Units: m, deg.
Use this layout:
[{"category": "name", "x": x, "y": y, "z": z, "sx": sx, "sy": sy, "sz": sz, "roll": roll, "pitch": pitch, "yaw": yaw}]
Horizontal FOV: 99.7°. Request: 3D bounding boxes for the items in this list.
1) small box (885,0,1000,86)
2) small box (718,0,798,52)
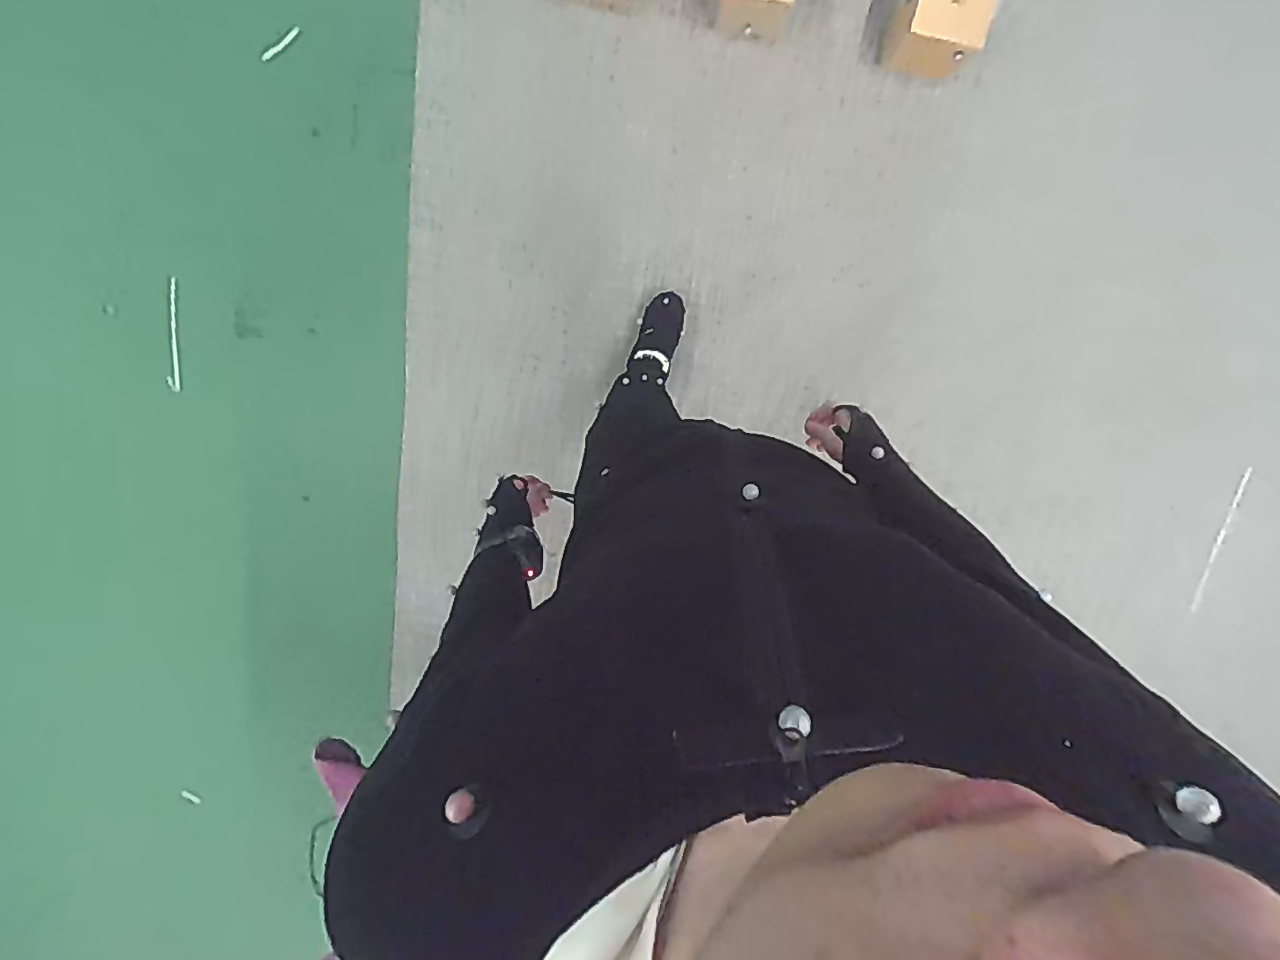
[{"category": "small box", "x": 0.710, "y": -1.072, "z": 1.276, "sx": 0.179, "sy": 0.176, "sz": 0.168, "roll": 10, "pitch": 103, "yaw": -2}, {"category": "small box", "x": 0.284, "y": -1.156, "z": 1.263, "sx": 0.168, "sy": 0.176, "sz": 0.179, "roll": 10, "pitch": 103, "yaw": -1}]
